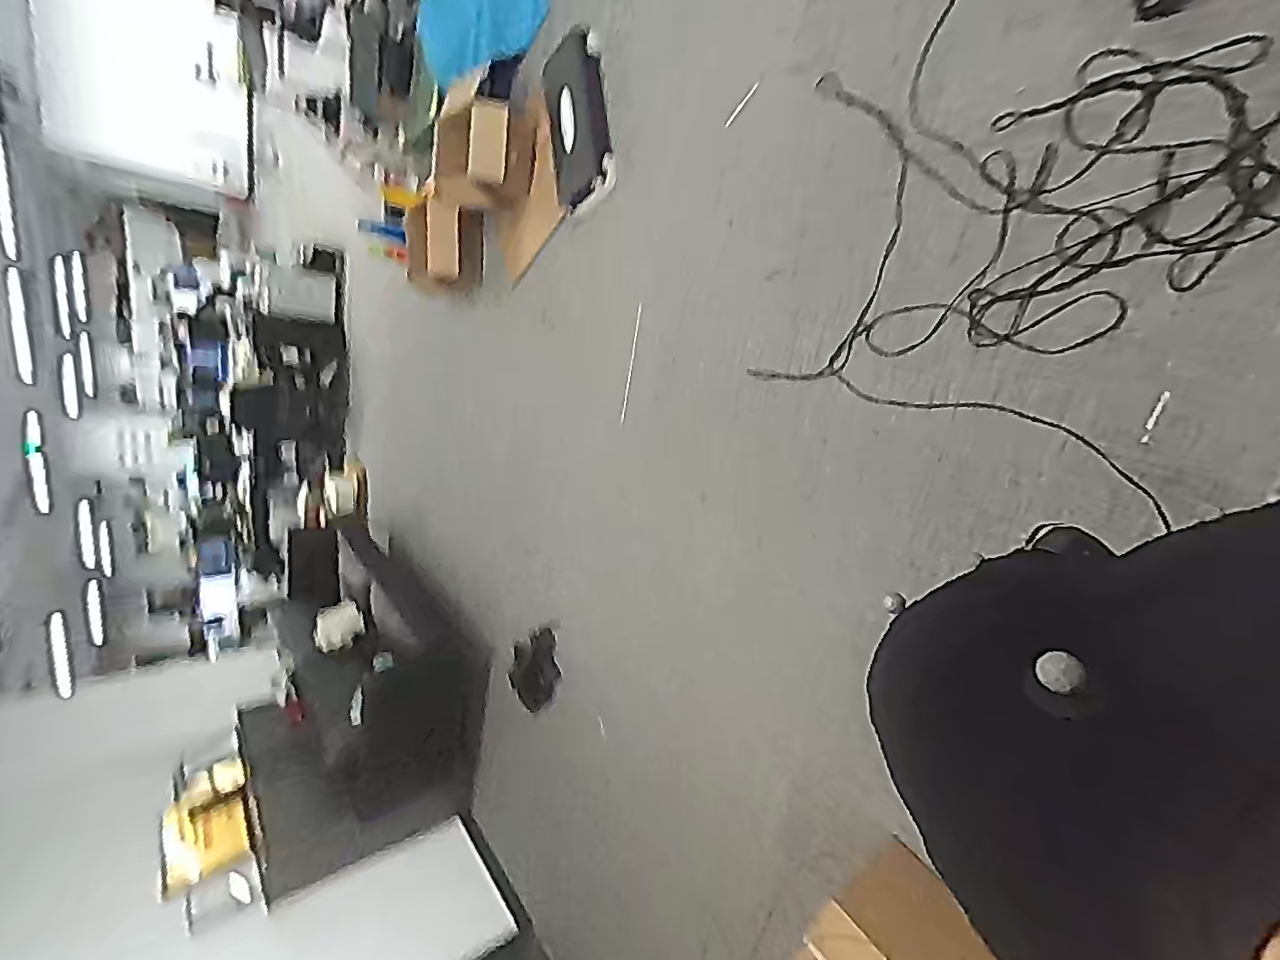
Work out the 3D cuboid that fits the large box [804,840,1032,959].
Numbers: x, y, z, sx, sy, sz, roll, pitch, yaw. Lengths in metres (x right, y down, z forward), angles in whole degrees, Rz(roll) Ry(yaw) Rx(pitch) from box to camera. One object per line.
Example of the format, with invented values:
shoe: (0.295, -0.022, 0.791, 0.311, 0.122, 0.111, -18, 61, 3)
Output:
large box: (0.652, 1.159, 1.235, 0.408, 0.320, 0.320, 36, 118, 44)
